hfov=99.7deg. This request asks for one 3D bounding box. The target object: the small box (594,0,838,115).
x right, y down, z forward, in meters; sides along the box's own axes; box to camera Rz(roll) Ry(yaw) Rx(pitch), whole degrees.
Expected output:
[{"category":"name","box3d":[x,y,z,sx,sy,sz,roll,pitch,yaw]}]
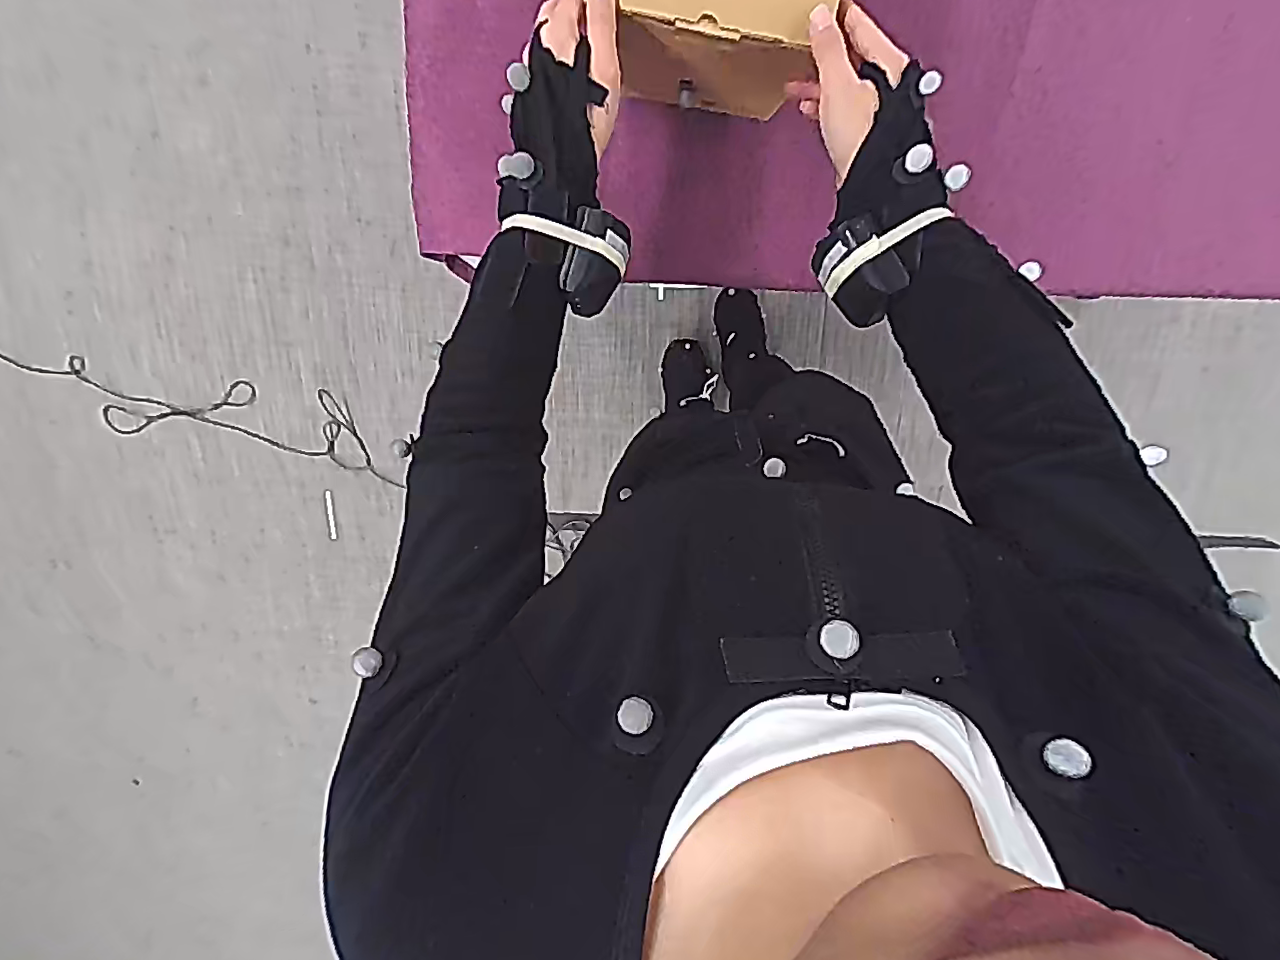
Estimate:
[{"category":"small box","box3d":[0.056,-0.408,0.402,0.168,0.176,0.179,8,110,-4]}]
